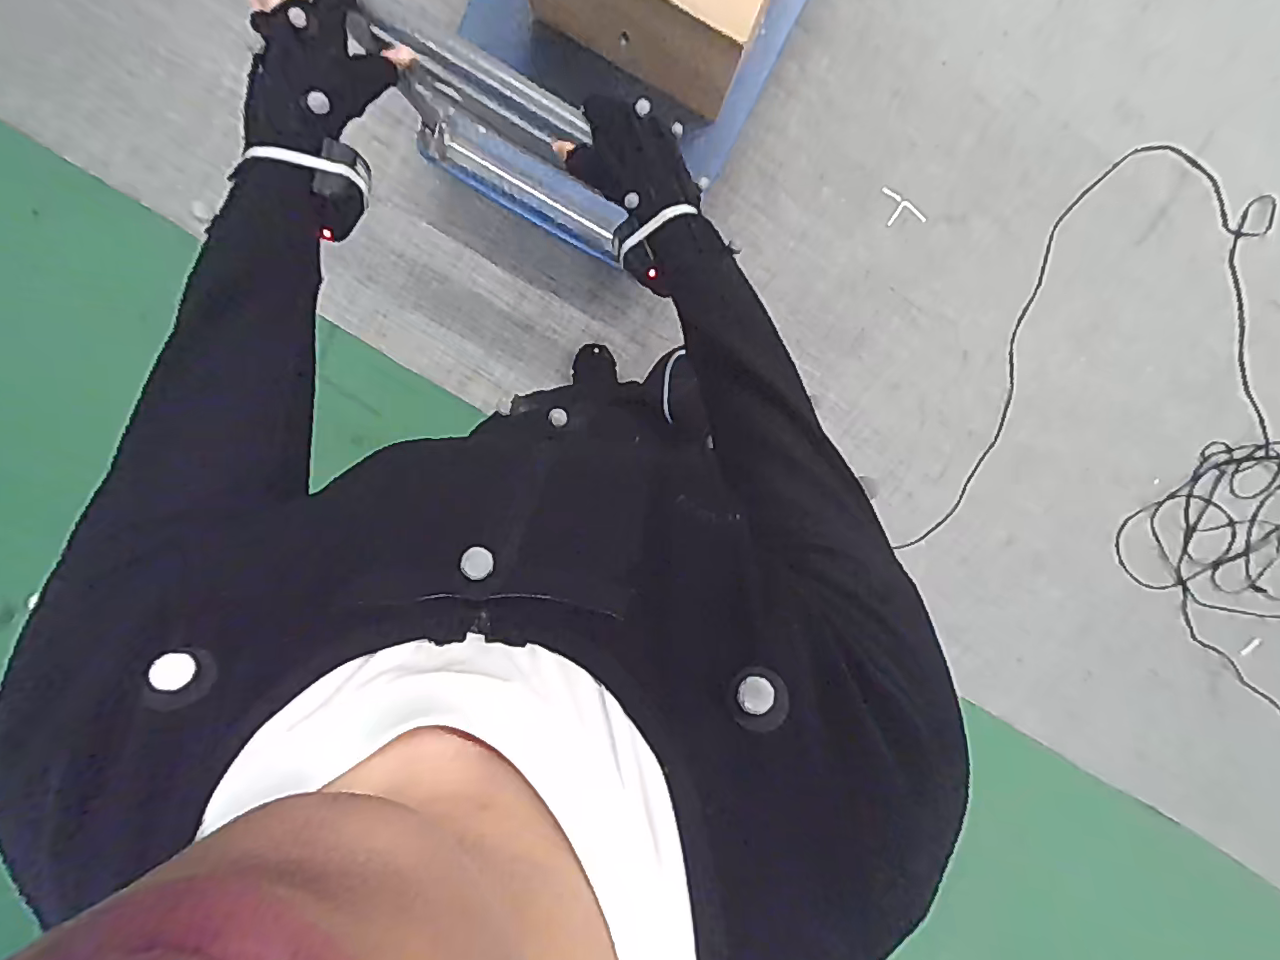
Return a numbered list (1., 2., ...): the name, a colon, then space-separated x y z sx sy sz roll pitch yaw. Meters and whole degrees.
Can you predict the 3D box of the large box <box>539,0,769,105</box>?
1. large box: 0.047 -0.927 0.902 0.408 0.320 0.320 25 104 -7
